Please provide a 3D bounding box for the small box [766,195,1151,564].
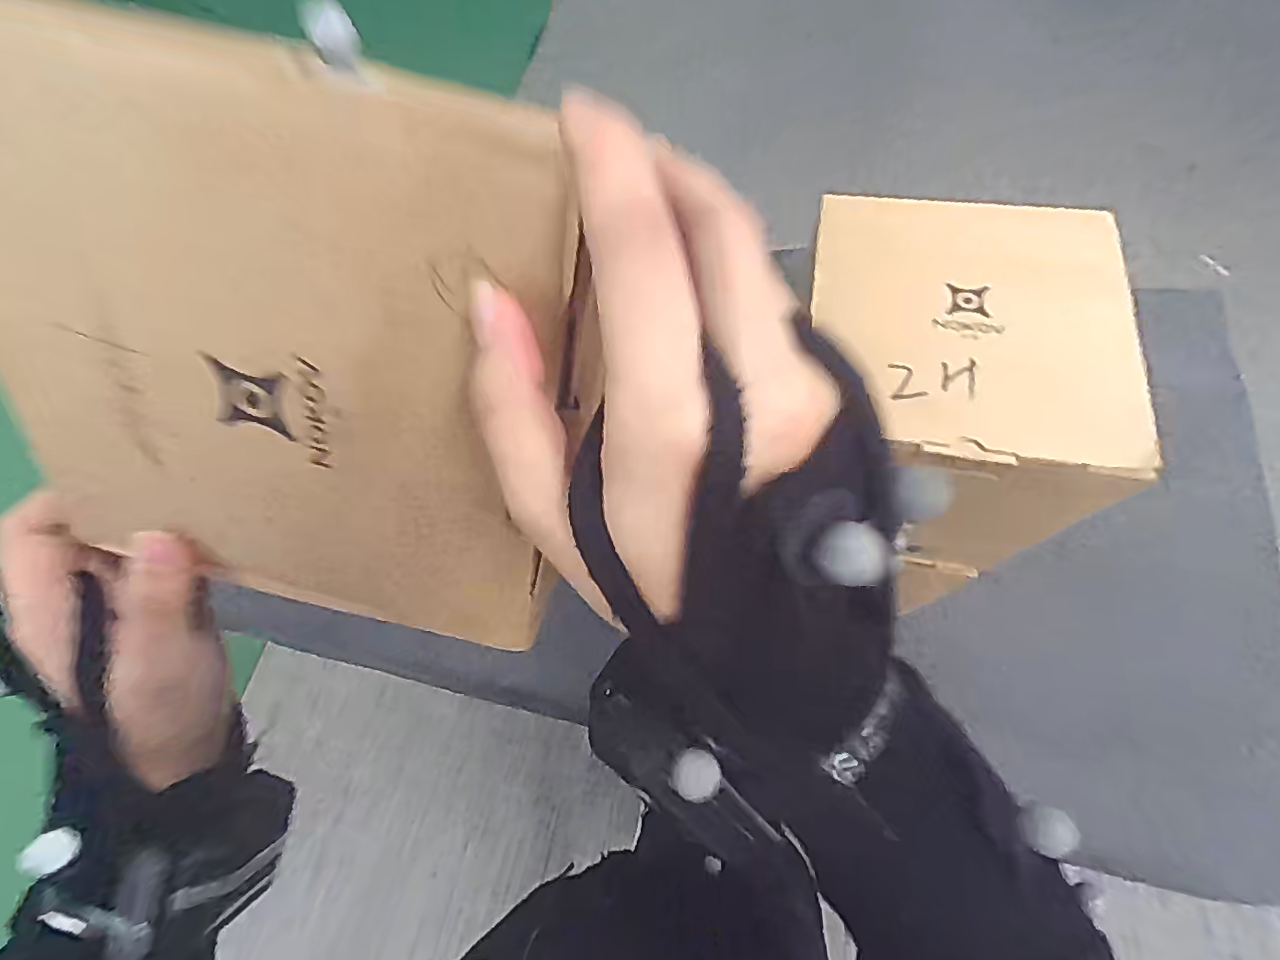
[{"bbox_3d":[0.184,-0.059,0.371,0.168,0.176,0.179,8,67,10],"label":"small box"}]
